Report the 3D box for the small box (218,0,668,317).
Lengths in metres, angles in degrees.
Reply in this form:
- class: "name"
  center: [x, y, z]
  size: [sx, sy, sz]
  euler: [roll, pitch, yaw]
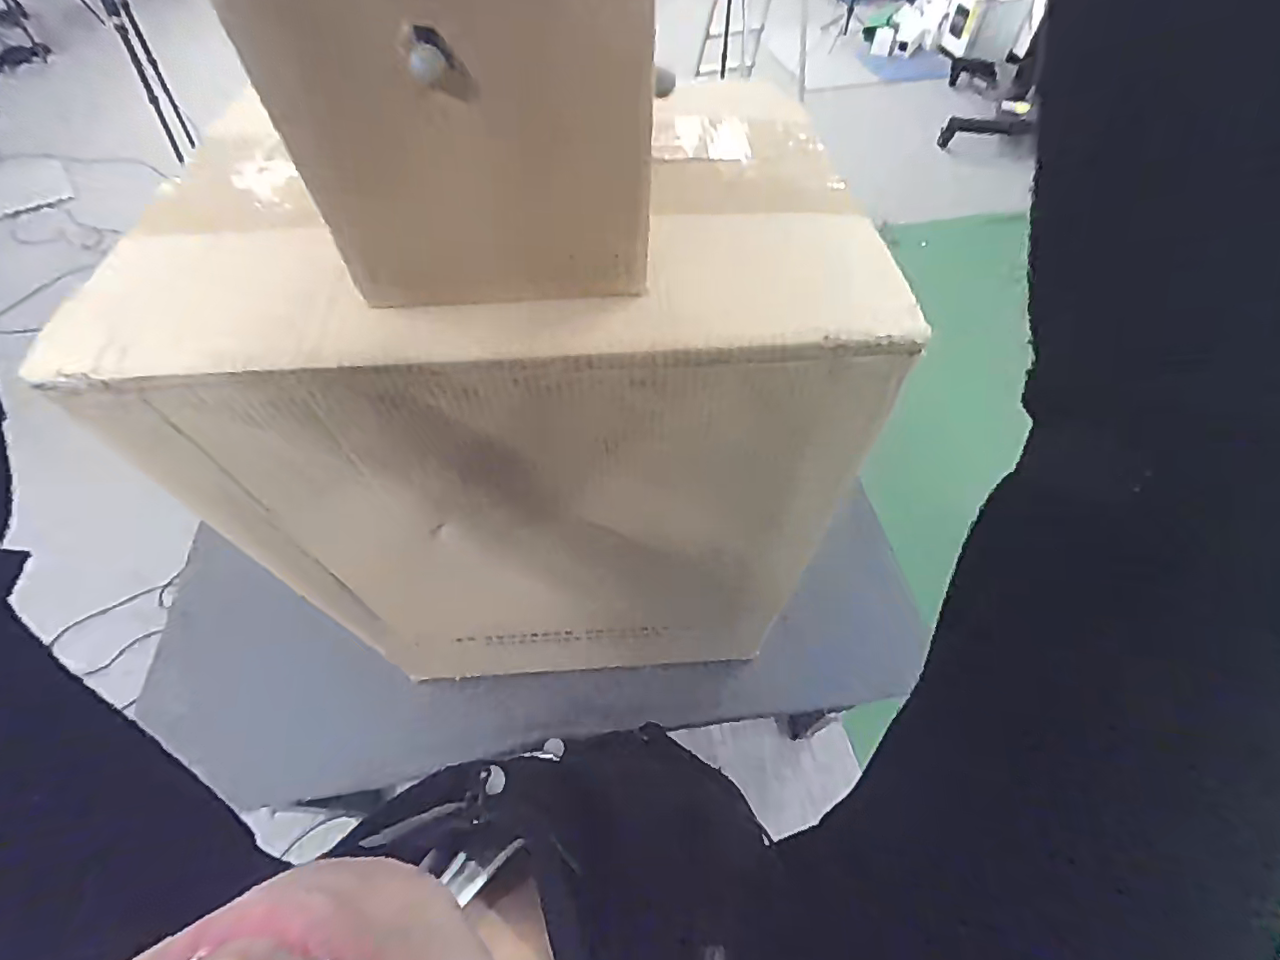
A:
- class: "small box"
  center: [-0.081, -0.215, 0.316]
  size: [0.179, 0.176, 0.168]
  euler: [-4, 58, -2]
